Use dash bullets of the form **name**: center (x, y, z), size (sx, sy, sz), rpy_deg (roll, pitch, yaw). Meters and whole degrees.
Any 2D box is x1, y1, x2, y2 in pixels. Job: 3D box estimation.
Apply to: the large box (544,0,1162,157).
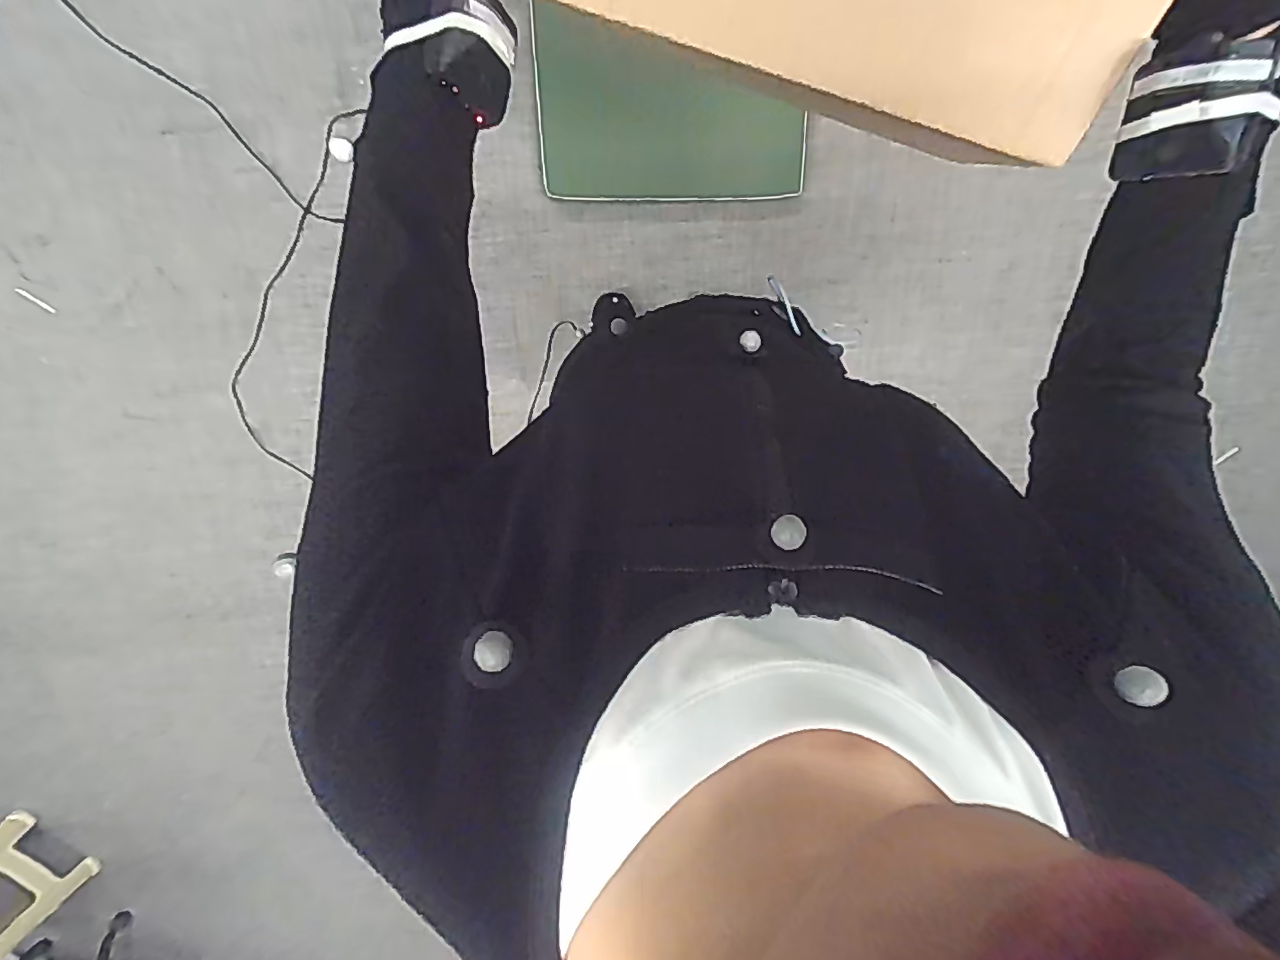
- **large box**: center (0.180, -0.480, 0.418), size (0.408, 0.320, 0.320), rpy_deg (22, 125, 5)
